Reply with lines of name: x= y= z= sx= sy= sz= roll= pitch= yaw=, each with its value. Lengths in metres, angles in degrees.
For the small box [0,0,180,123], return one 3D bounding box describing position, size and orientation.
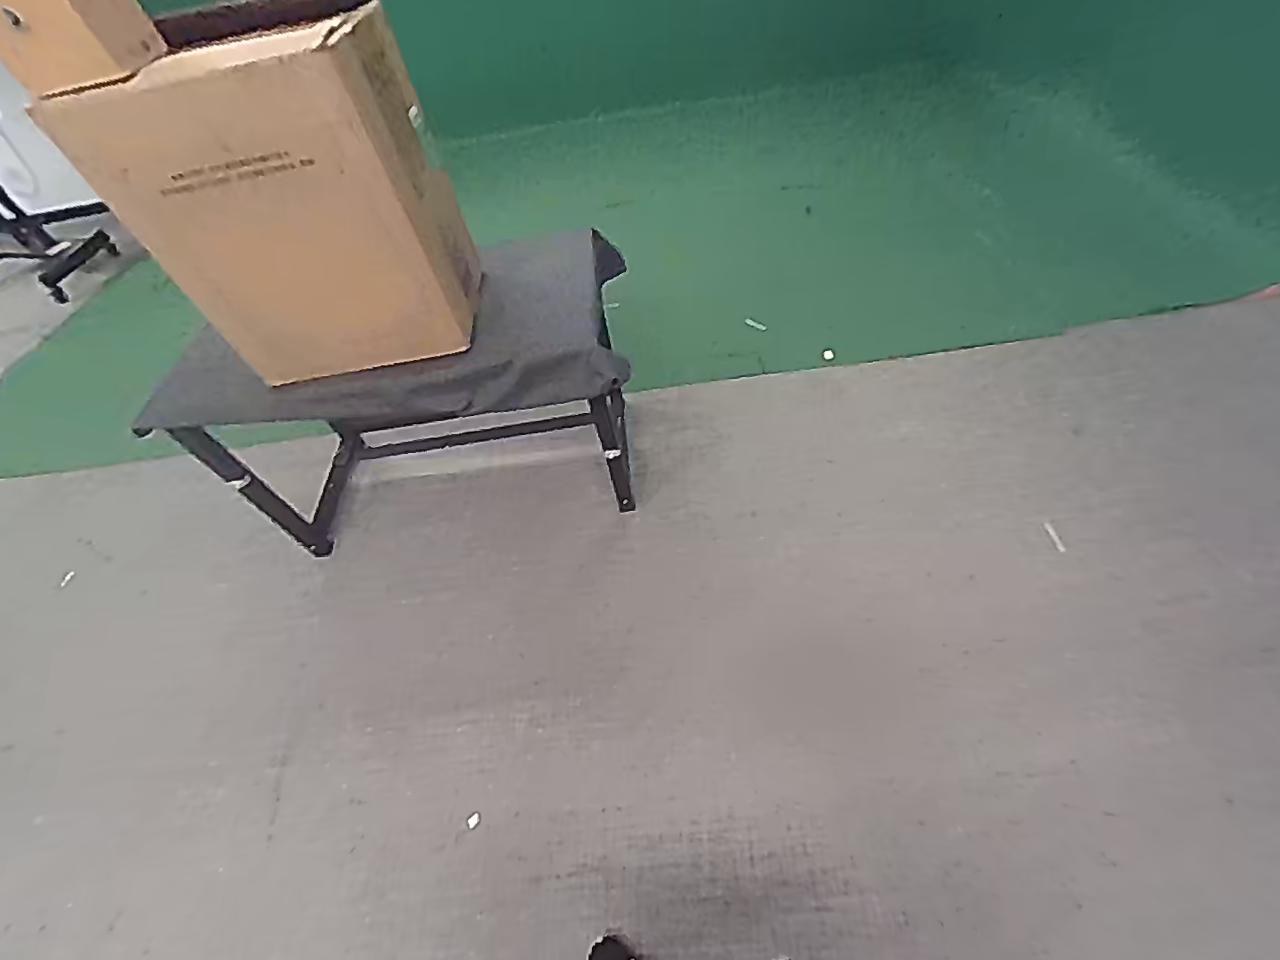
small box: x=-0.961 y=-0.742 z=0.924 sx=0.179 sy=0.176 sz=0.168 roll=-11 pitch=51 yaw=5
